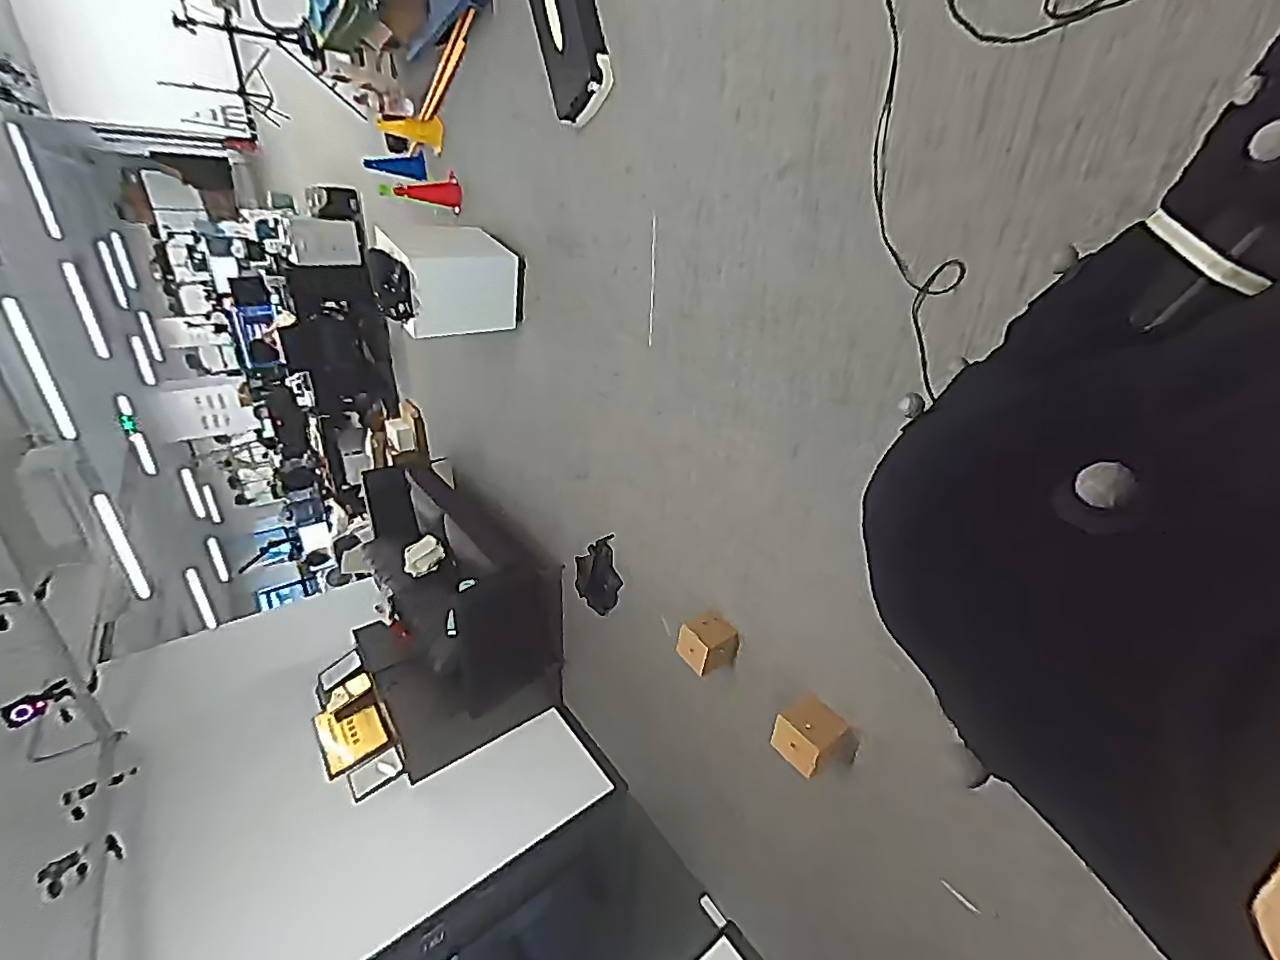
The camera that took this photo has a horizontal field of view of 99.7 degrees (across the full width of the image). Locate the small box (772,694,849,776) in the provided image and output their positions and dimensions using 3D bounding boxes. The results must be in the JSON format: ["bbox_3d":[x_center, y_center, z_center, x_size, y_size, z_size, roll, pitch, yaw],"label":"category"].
[{"bbox_3d":[0.598,0.887,1.903,0.179,0.176,0.168,34,130,43],"label":"small box"}]

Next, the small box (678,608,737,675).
[{"bbox_3d":[0.283,0.667,2.258,0.168,0.176,0.179,40,135,41],"label":"small box"}]
